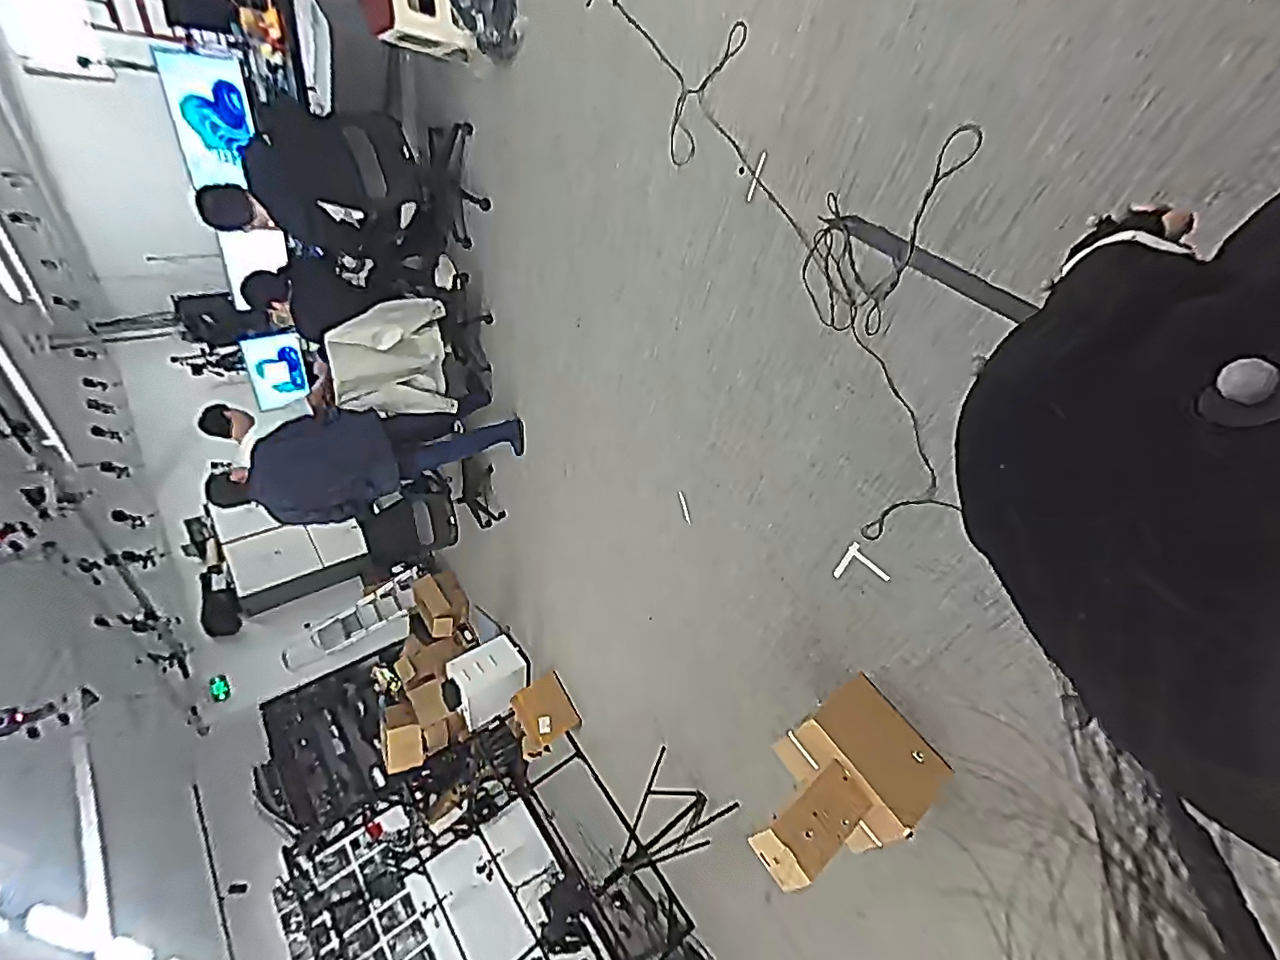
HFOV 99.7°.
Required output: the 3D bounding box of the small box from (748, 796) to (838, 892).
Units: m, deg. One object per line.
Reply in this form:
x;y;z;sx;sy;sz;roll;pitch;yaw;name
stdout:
0.465;1.090;1.628;0.168;0.176;0.179;49;140;25;small box
